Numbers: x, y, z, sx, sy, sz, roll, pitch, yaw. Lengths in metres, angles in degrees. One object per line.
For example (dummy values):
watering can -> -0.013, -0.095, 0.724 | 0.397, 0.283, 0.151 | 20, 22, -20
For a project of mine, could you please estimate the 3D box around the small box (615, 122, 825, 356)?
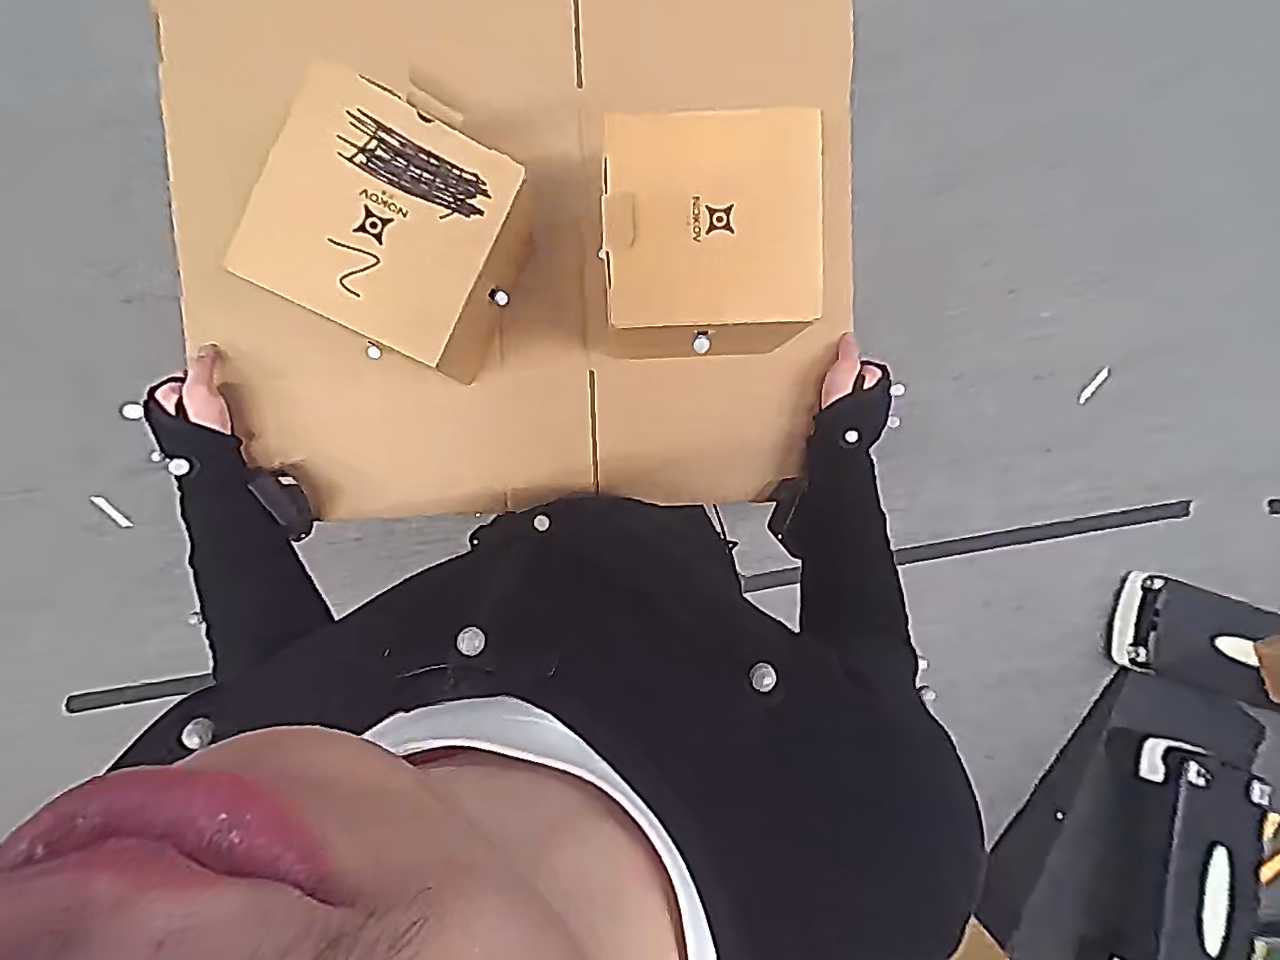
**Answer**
small box -> 0.067, -0.218, 0.530 | 0.179, 0.176, 0.168 | -2, 94, 1
